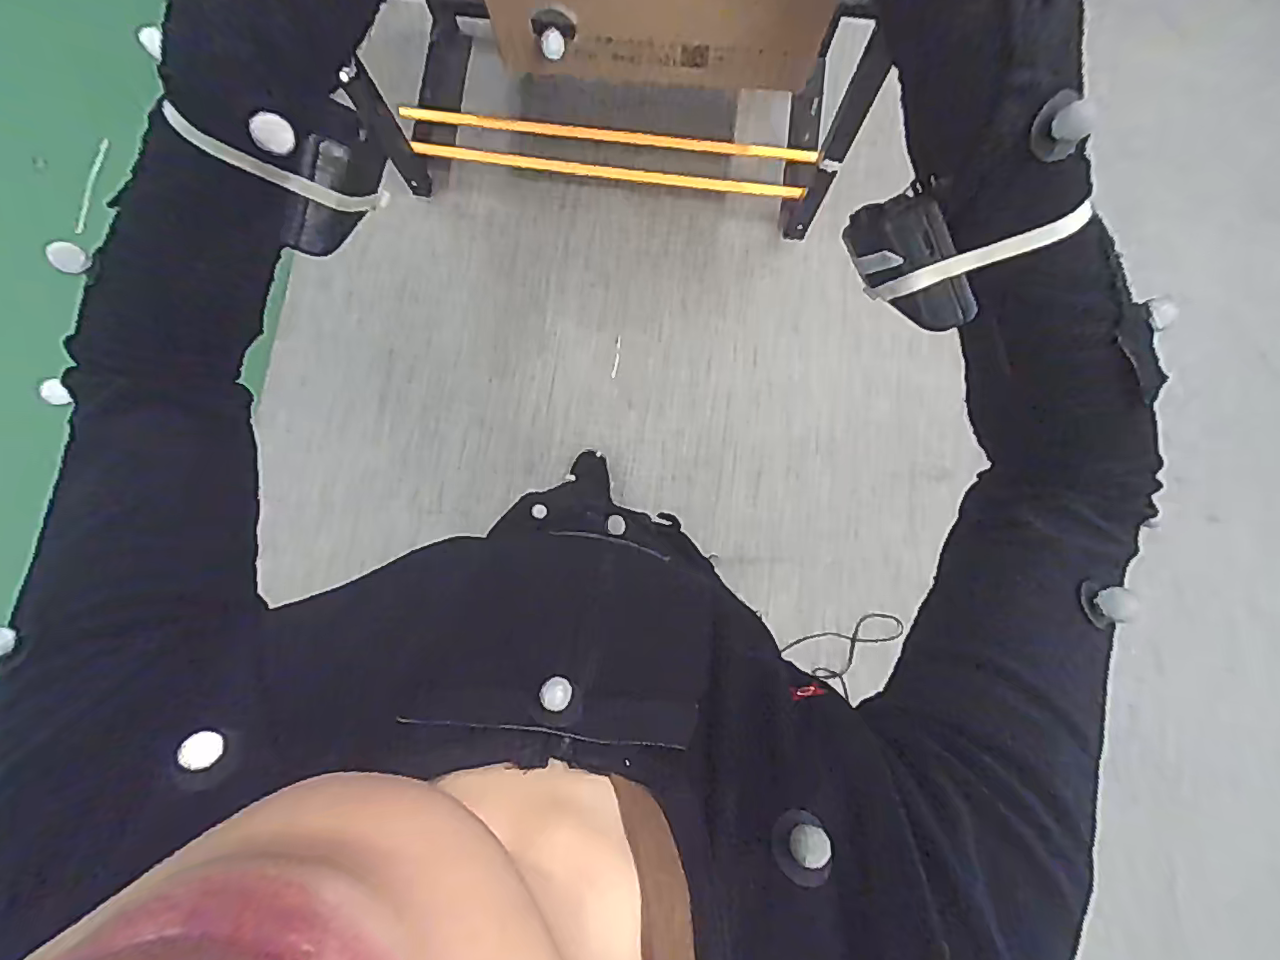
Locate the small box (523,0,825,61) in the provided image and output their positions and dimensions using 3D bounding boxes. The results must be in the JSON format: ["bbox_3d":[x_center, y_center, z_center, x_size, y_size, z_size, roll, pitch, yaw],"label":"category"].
[{"bbox_3d":[0.018,-0.319,0.220,0.168,0.176,0.179,5,88,0],"label":"small box"}]
